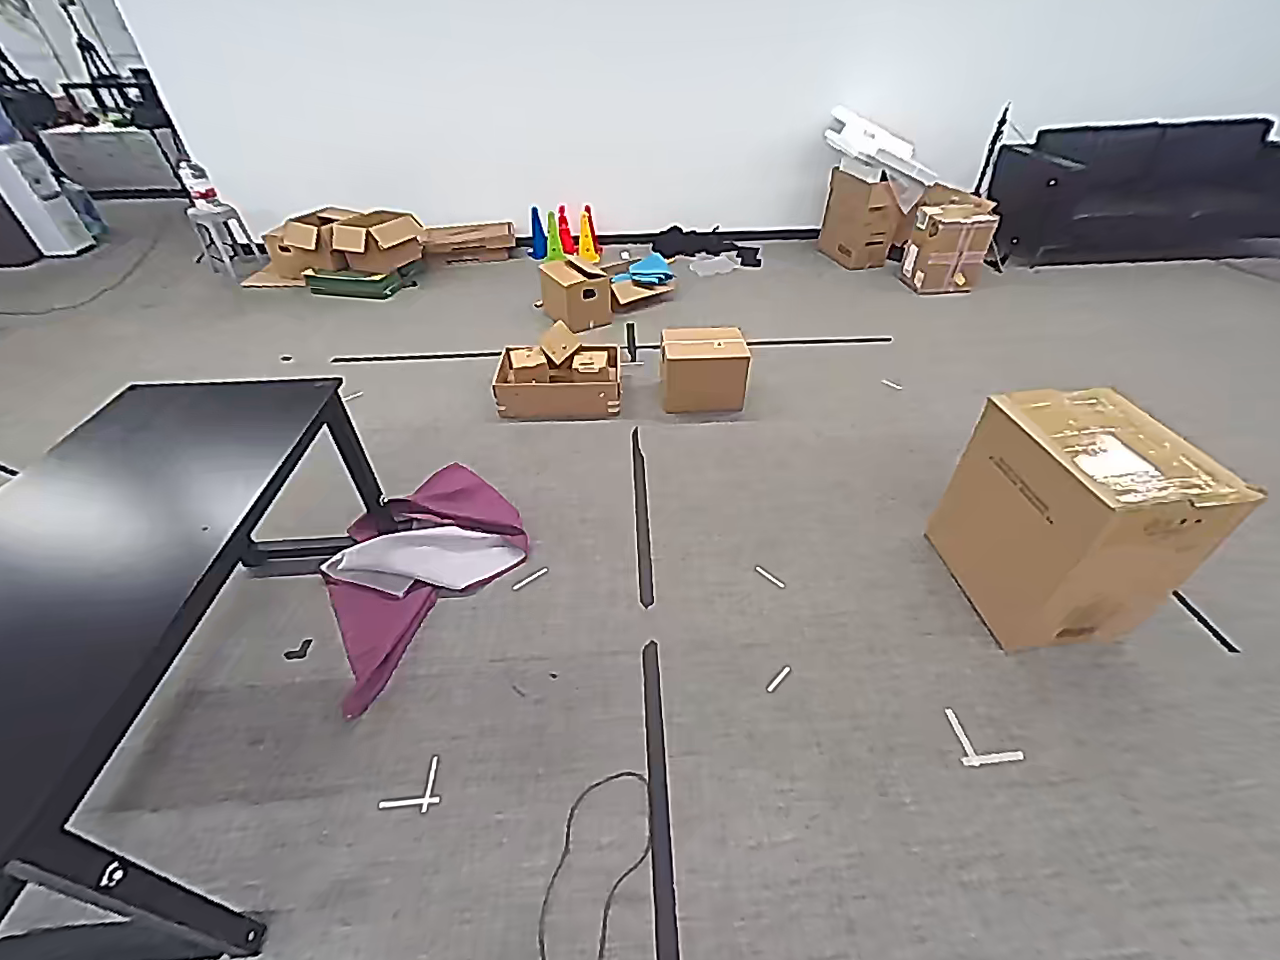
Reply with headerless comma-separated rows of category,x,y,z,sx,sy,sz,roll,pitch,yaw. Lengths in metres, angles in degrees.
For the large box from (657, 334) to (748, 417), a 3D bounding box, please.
large box,0.305,-0.535,2.768,0.408,0.320,0.320,-2,41,-4
